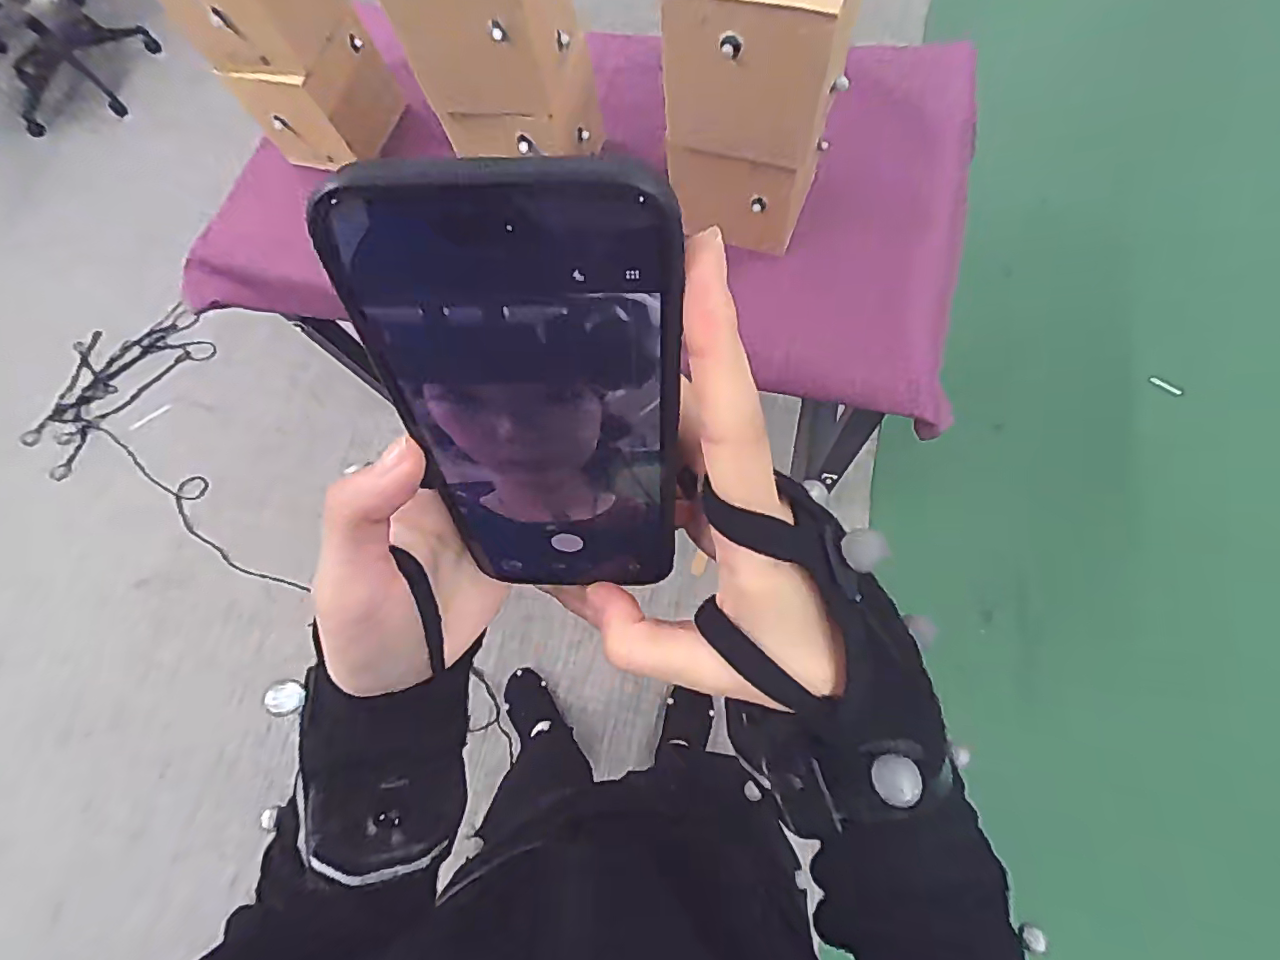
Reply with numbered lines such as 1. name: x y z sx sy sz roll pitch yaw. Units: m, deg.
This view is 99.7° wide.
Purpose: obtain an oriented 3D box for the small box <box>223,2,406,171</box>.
1. small box: -0.533 -0.661 0.914 0.168 0.176 0.179 15 74 11

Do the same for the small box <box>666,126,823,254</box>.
1. small box: 0.152 -0.452 0.762 0.179 0.176 0.168 20 75 13

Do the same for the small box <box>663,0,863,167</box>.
1. small box: 0.137 -0.487 0.602 0.179 0.176 0.168 20 75 12

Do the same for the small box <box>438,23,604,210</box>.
1. small box: -0.168 -0.547 0.831 0.179 0.176 0.168 14 74 11

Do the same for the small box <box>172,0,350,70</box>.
1. small box: -0.549 -0.720 0.762 0.168 0.176 0.179 10 74 9
